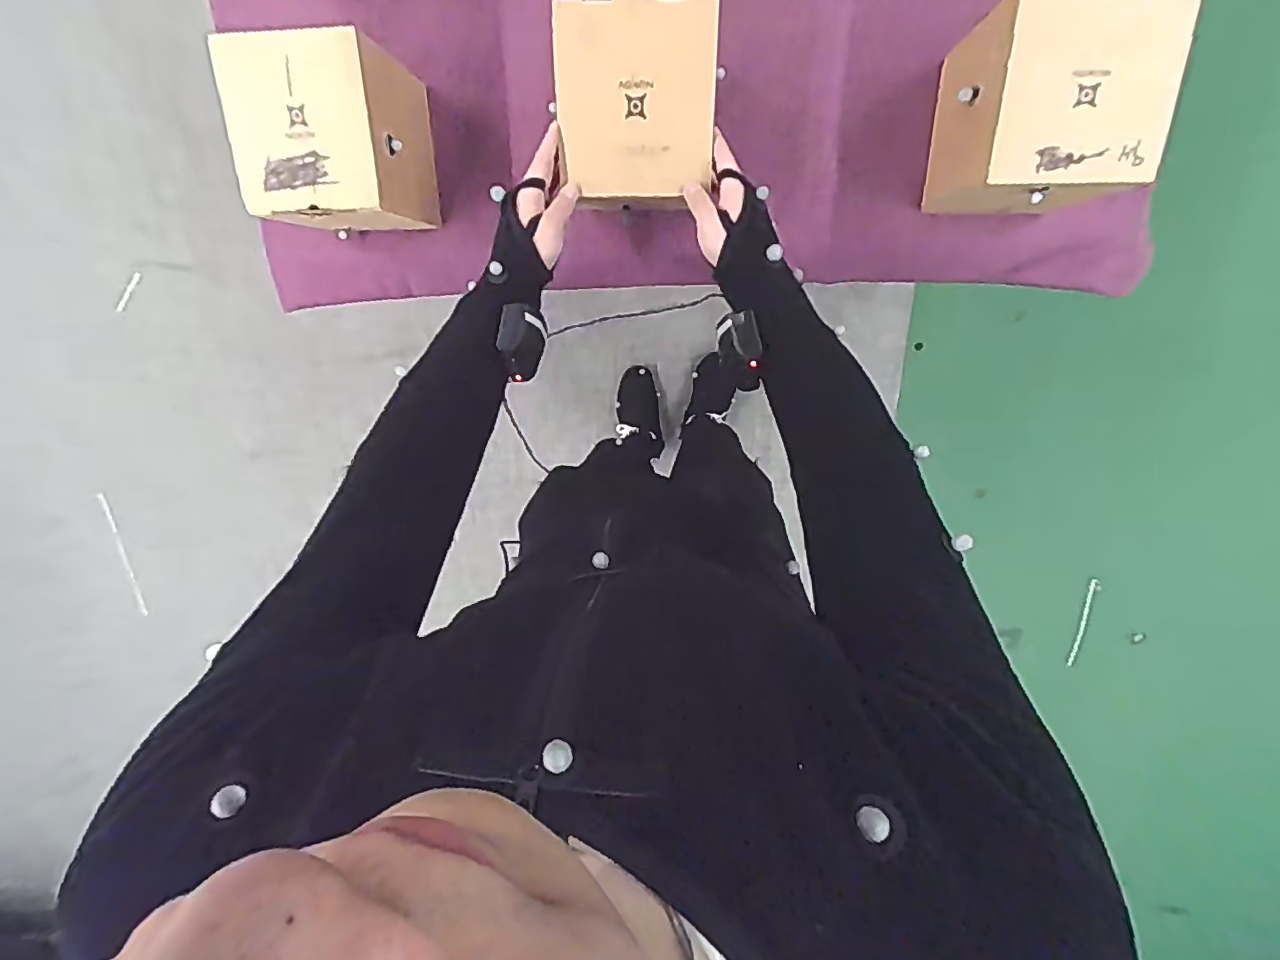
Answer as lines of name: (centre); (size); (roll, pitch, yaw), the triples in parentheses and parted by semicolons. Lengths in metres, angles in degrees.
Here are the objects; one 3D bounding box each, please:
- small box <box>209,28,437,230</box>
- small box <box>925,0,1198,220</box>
small box: (-0.367, -0.410, 0.665); (0.168, 0.176, 0.179); (0, 108, 3)
small box: (0.448, -0.406, 0.610); (0.168, 0.176, 0.179); (2, 106, 4)
